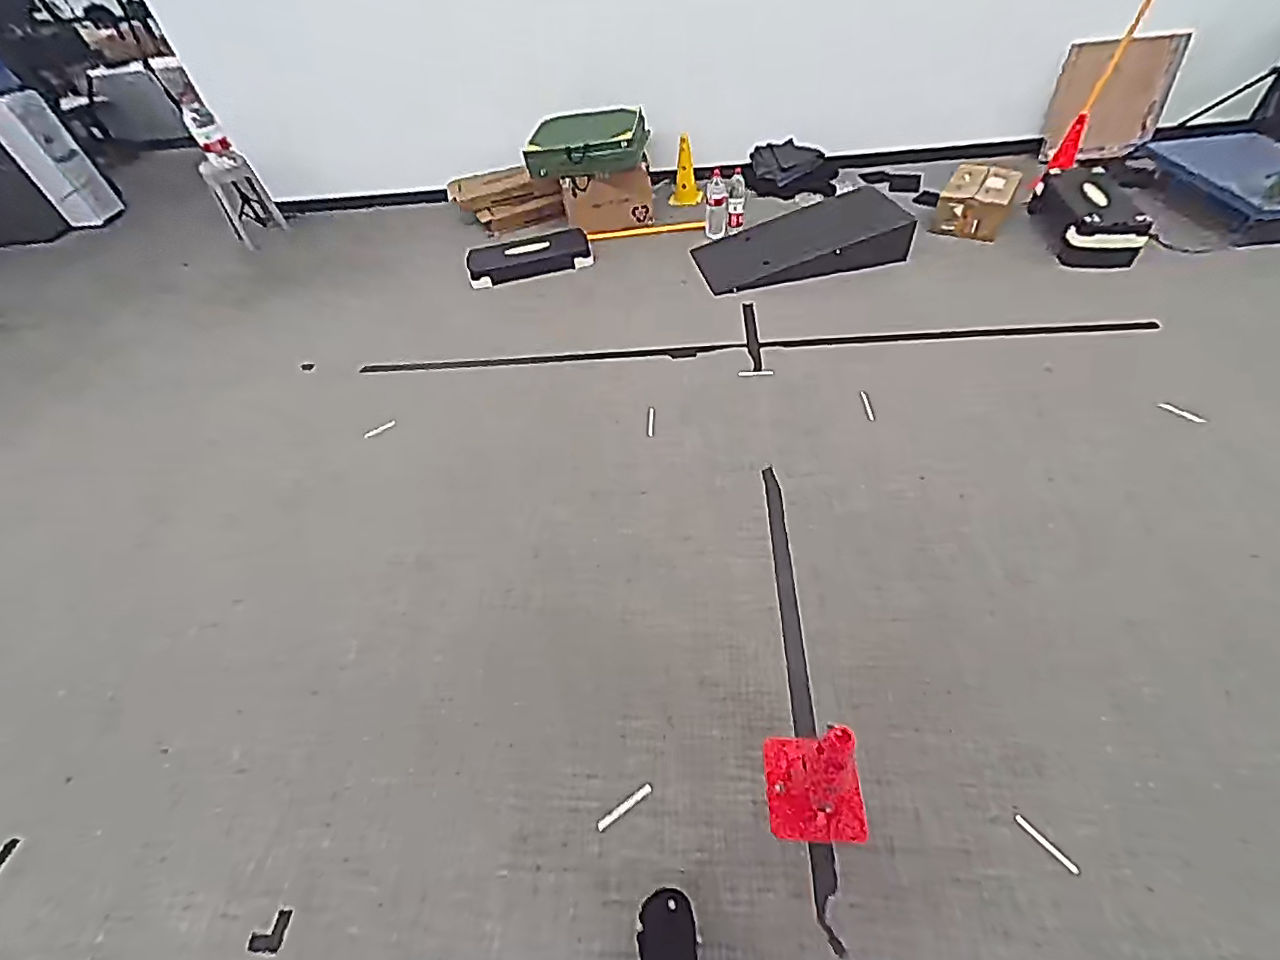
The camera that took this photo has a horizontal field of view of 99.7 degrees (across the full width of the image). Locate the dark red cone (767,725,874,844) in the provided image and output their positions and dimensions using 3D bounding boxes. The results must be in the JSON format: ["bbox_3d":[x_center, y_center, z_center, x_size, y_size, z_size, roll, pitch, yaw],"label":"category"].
[{"bbox_3d":[0.363,0.550,1.036,0.201,0.394,0.202,-3,48,6],"label":"dark red cone"}]
